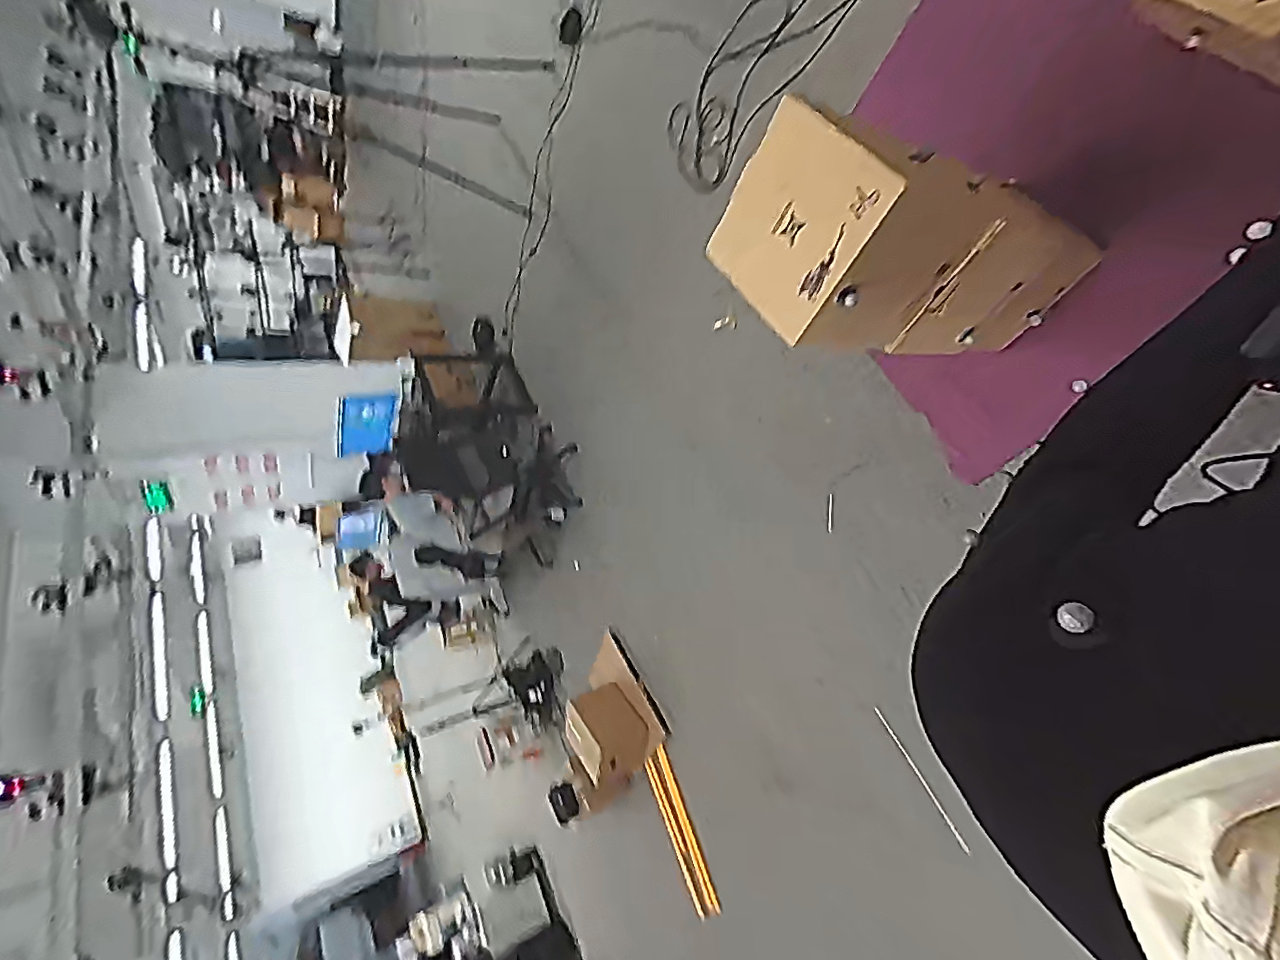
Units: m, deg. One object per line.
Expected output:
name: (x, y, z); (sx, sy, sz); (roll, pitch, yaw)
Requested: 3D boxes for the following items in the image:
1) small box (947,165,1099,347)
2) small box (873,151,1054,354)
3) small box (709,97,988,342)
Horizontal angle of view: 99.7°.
small box: (0.477, -0.302, 0.758); (0.179, 0.176, 0.168); (60, 140, 27)
small box: (0.348, -0.274, 0.662); (0.179, 0.176, 0.168); (61, 141, 28)
small box: (0.211, -0.259, 0.572); (0.179, 0.176, 0.168); (60, 141, 29)
